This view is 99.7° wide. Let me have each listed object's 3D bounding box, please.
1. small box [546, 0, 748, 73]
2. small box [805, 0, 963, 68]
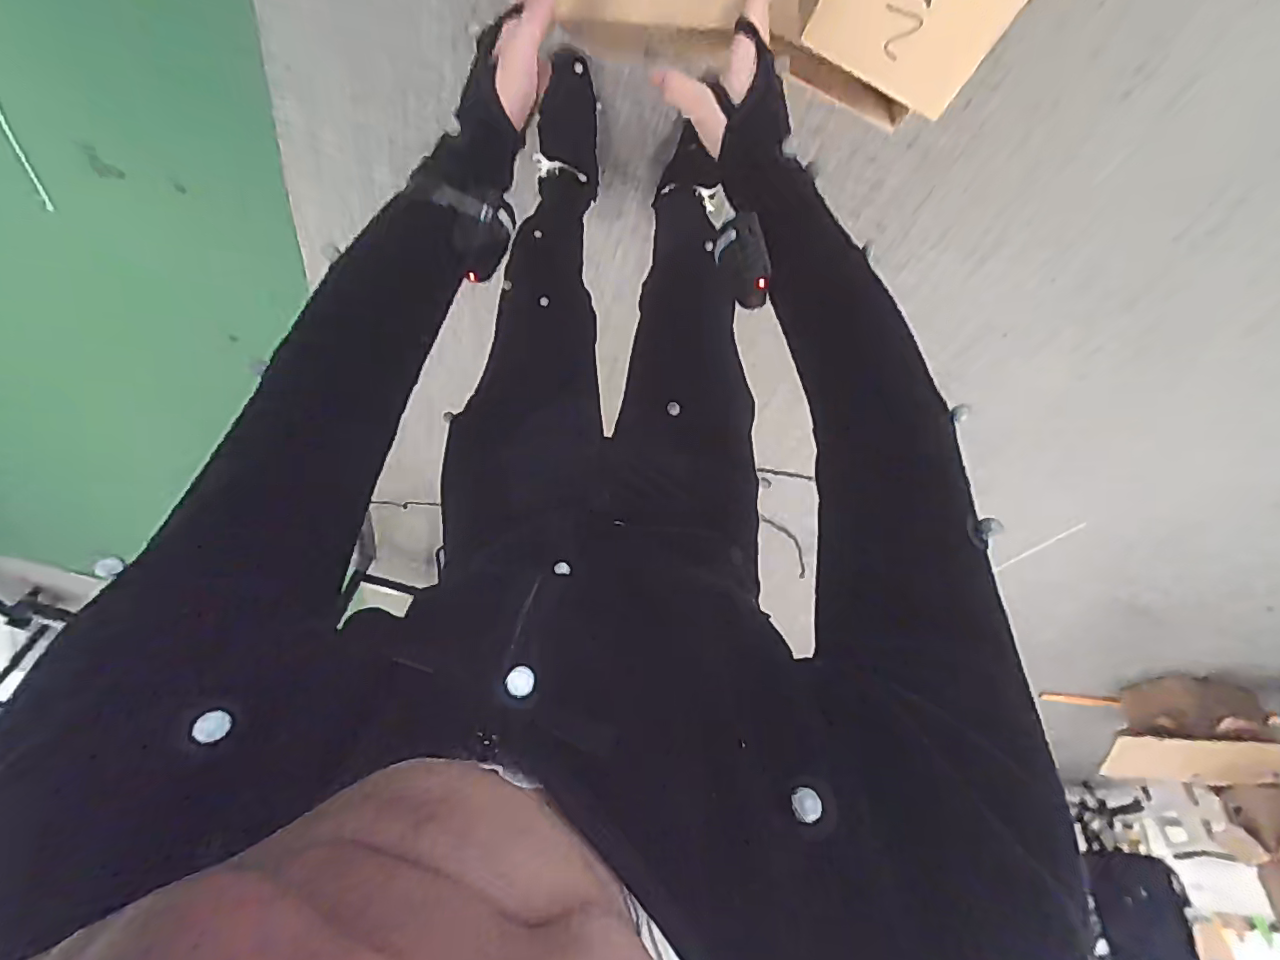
[{"bbox_3d":[0.018,-0.483,0.471,0.168,0.176,0.179,7,119,4],"label":"small box"},{"bbox_3d":[0.302,-0.629,0.620,0.168,0.176,0.179,21,140,-10],"label":"small box"}]
